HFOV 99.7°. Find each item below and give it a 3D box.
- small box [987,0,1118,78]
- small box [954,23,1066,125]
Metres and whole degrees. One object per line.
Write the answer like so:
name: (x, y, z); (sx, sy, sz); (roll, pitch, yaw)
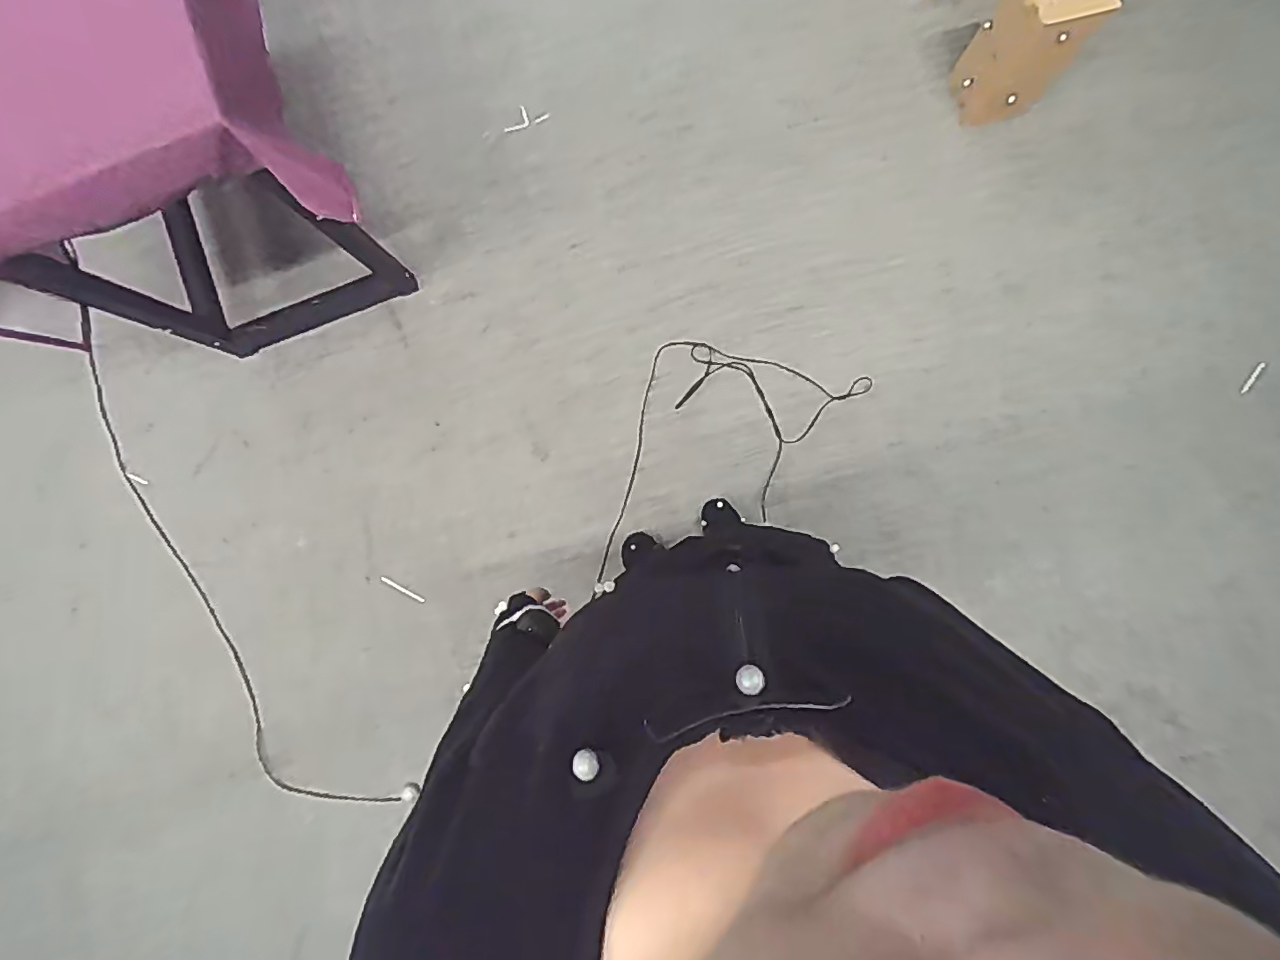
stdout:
small box: (0.956, -1.096, 1.274); (0.179, 0.176, 0.168); (-12, 87, 2)
small box: (0.970, -1.089, 1.439); (0.179, 0.176, 0.168); (-14, 88, 3)
